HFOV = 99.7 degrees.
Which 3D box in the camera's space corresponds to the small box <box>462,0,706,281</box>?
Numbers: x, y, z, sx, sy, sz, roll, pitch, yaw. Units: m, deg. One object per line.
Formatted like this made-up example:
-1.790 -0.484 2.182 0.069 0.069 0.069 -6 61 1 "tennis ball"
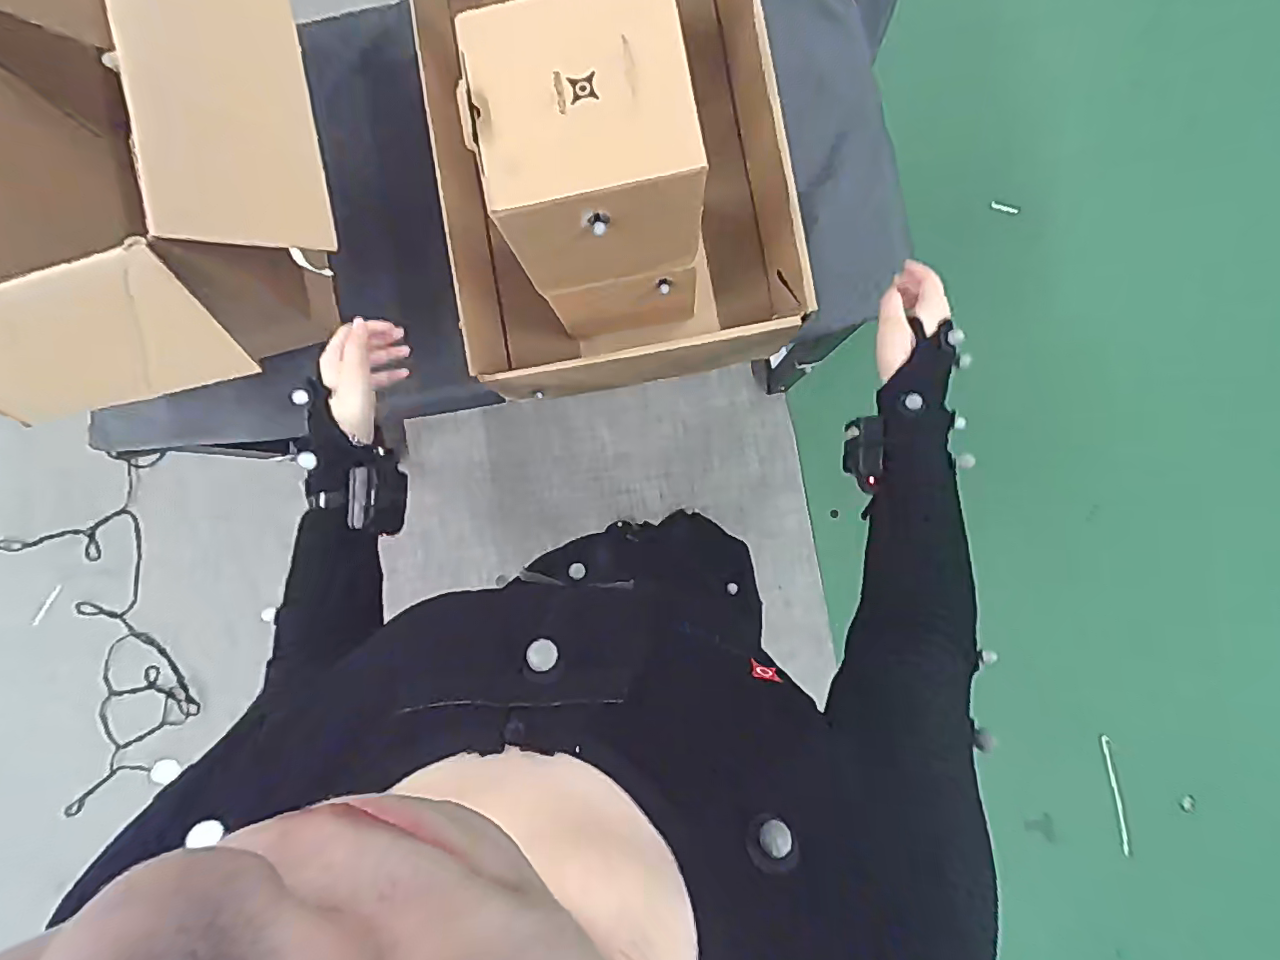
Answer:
-0.041 -0.306 0.507 0.179 0.176 0.168 -11 89 2 "small box"
